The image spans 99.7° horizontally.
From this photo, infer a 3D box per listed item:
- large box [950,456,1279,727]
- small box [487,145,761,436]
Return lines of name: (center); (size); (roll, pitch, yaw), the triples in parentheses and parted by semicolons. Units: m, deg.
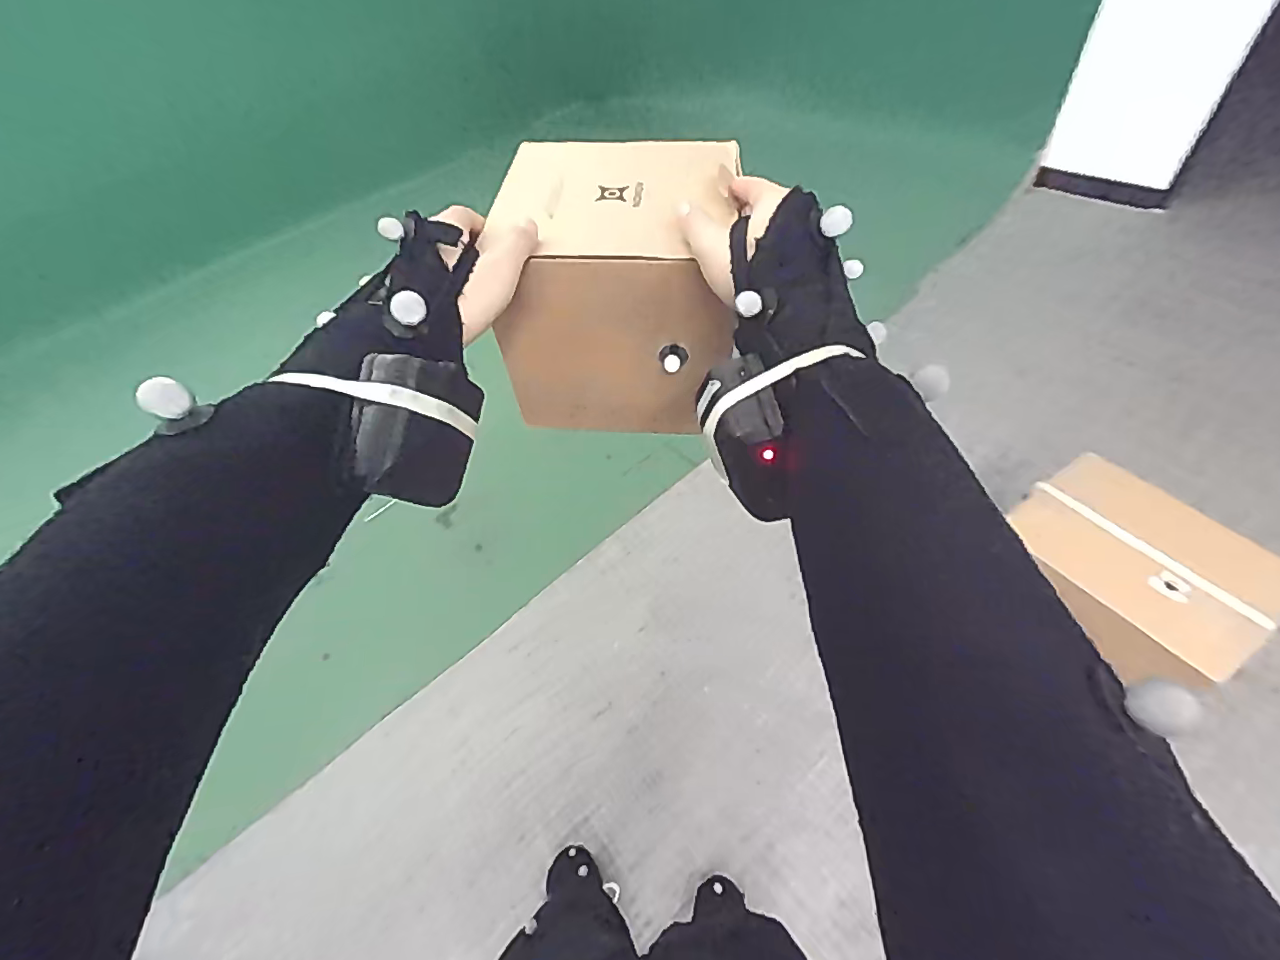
large box: (0.972, 0.229, 1.149); (0.320, 0.320, 0.408); (-33, 54, -14)
small box: (-0.002, -0.150, 0.449); (0.179, 0.176, 0.168); (2, 53, 5)
